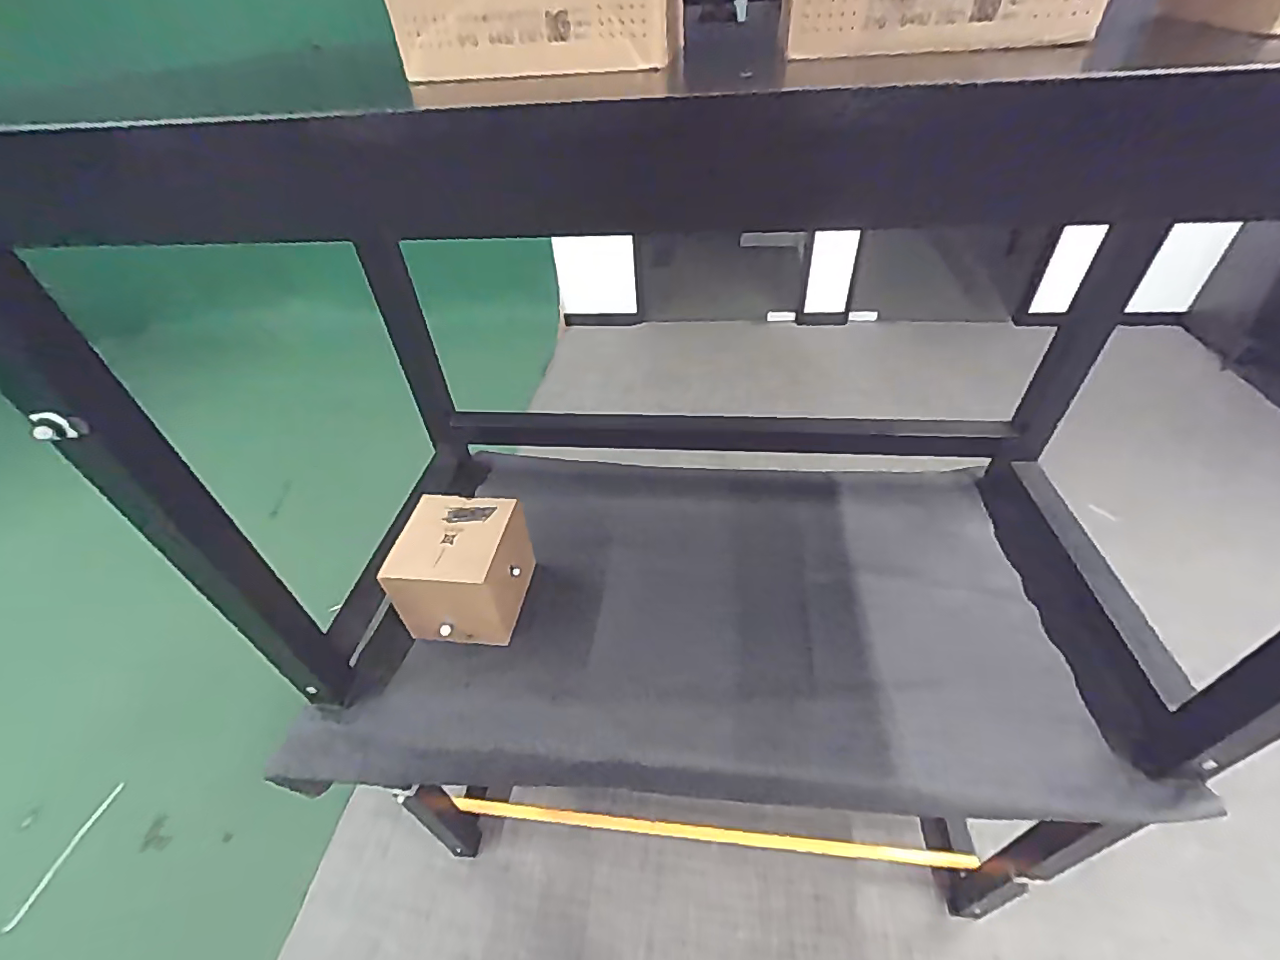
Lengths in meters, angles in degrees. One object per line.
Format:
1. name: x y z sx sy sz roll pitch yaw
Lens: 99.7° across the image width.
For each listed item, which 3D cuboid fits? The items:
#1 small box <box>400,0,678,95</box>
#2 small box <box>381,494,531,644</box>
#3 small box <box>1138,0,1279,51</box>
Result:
1. small box: -0.062 -0.366 0.359 0.168 0.176 0.179 2 42 7
2. small box: -0.288 0.146 0.897 0.168 0.176 0.179 2 42 7
3. small box: 0.417 -0.330 0.275 0.168 0.176 0.179 10 43 15
